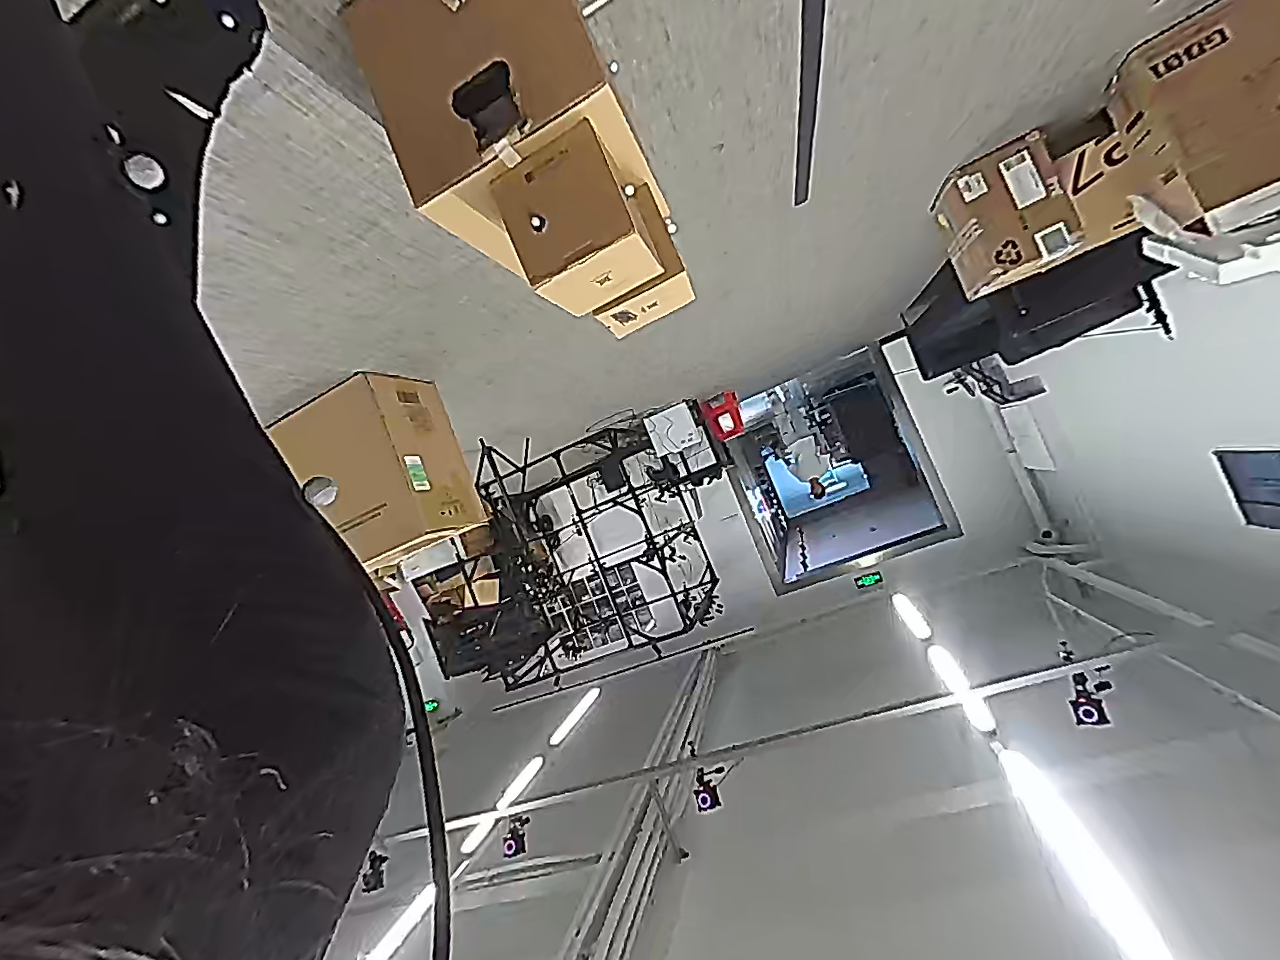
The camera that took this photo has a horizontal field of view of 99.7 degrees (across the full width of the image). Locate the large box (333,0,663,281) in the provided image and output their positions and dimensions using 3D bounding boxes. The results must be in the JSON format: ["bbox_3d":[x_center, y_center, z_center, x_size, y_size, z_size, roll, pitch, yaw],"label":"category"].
[{"bbox_3d":[-0.198,-0.595,0.903,0.320,0.320,0.408,-22,179,15],"label":"large box"}]

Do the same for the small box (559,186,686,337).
[{"bbox_3d":[-0.032,-0.395,0.999,0.179,0.176,0.168,-24,177,10],"label":"small box"}]
